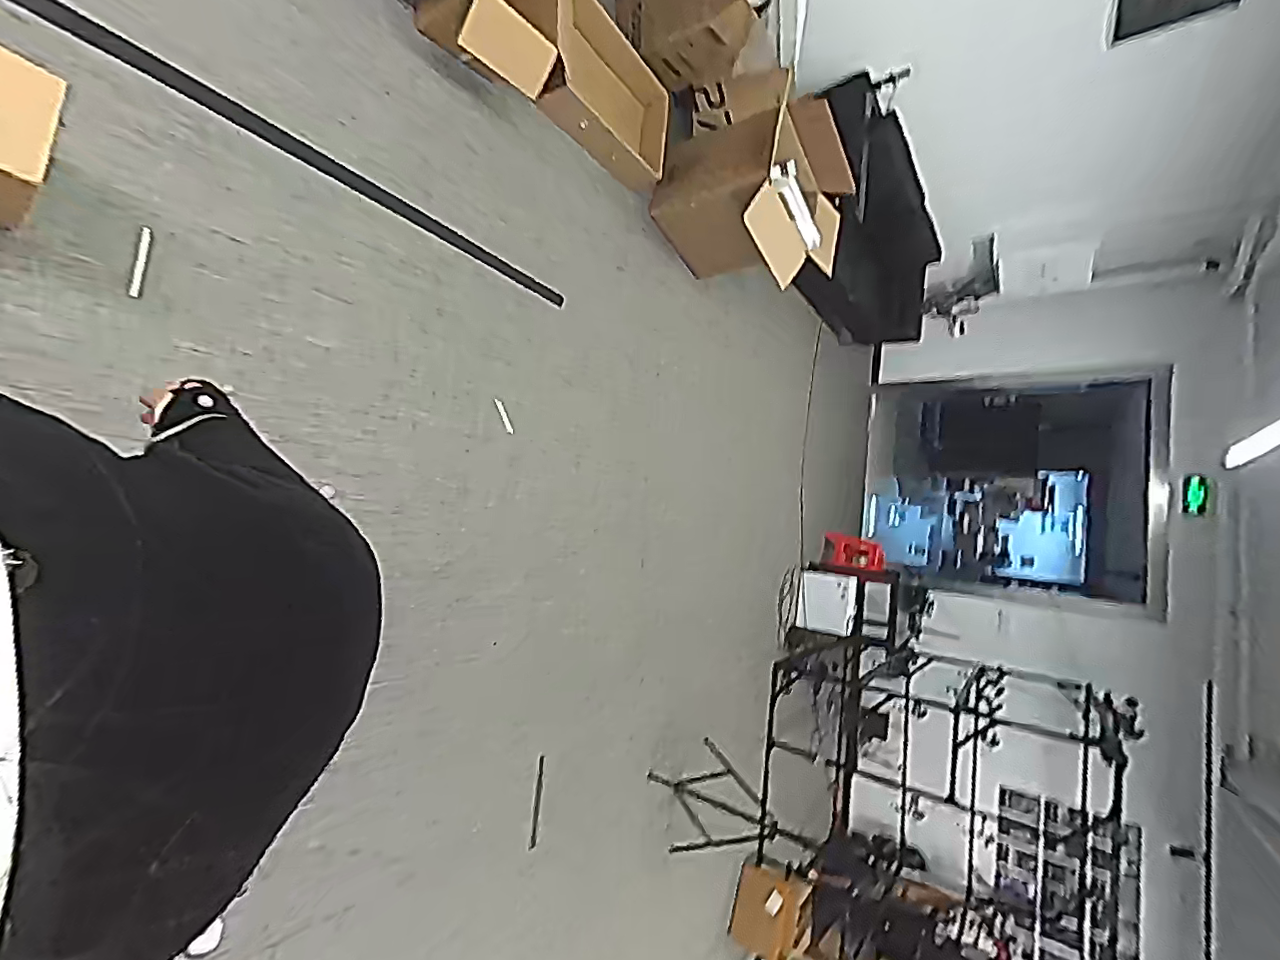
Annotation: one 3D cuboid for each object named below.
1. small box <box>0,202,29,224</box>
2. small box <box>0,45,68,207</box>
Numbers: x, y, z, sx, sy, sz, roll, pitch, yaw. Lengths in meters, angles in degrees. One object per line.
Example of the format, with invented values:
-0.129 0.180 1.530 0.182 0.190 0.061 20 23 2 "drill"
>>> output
-1.131 -0.559 0.901 0.168 0.176 0.179 13 82 -54 "small box"
-1.000 -0.545 0.801 0.168 0.176 0.179 16 80 -53 "small box"
